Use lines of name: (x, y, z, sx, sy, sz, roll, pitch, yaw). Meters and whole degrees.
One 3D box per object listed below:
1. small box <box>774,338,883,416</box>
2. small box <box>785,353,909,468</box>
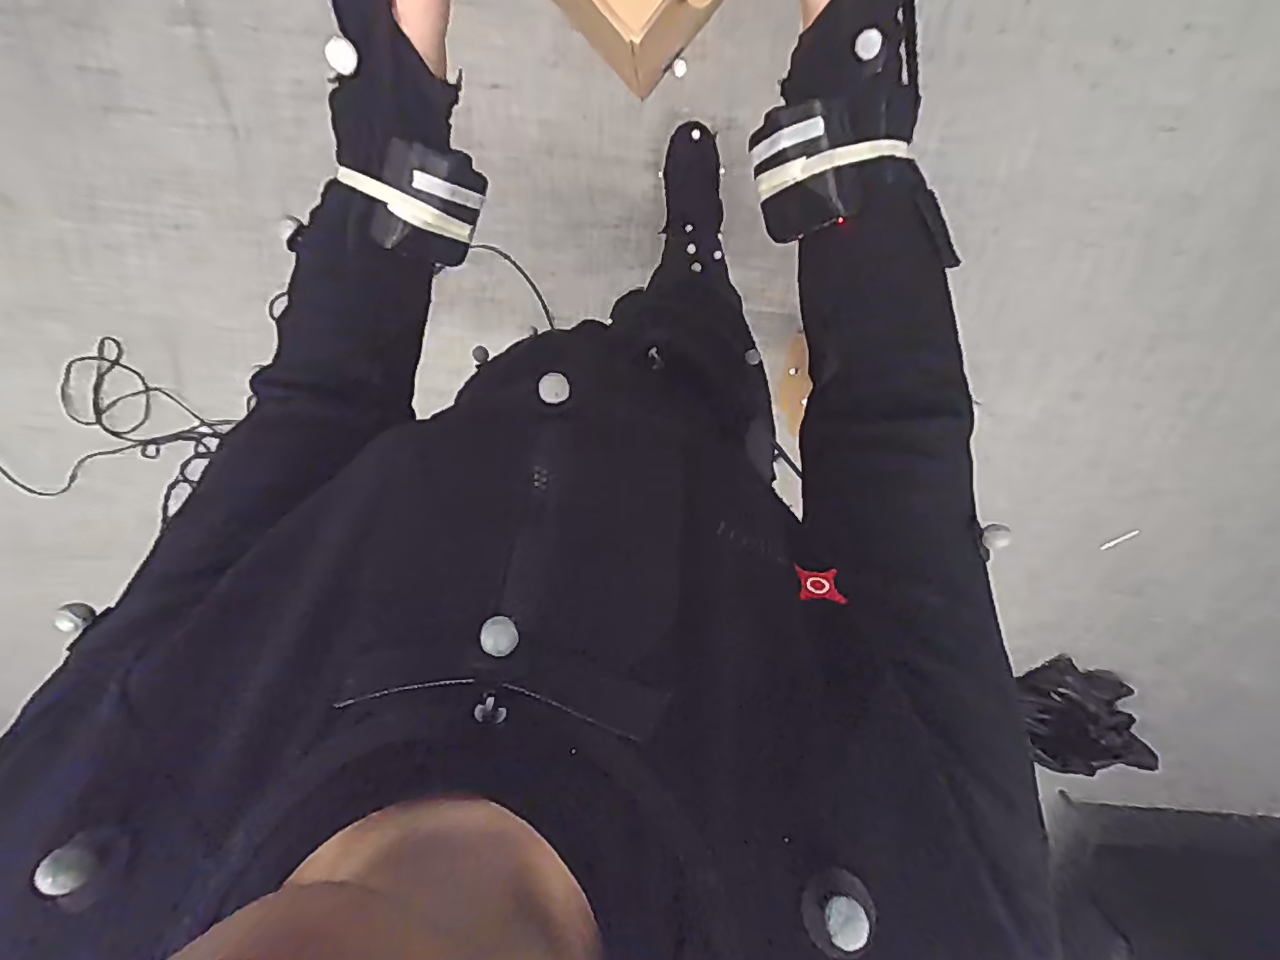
small box: (0.418, -0.219, 1.232, 0.168, 0.176, 0.179, 8, 112, -2)
small box: (0.402, -0.144, 1.087, 0.168, 0.176, 0.179, 8, 113, -2)
